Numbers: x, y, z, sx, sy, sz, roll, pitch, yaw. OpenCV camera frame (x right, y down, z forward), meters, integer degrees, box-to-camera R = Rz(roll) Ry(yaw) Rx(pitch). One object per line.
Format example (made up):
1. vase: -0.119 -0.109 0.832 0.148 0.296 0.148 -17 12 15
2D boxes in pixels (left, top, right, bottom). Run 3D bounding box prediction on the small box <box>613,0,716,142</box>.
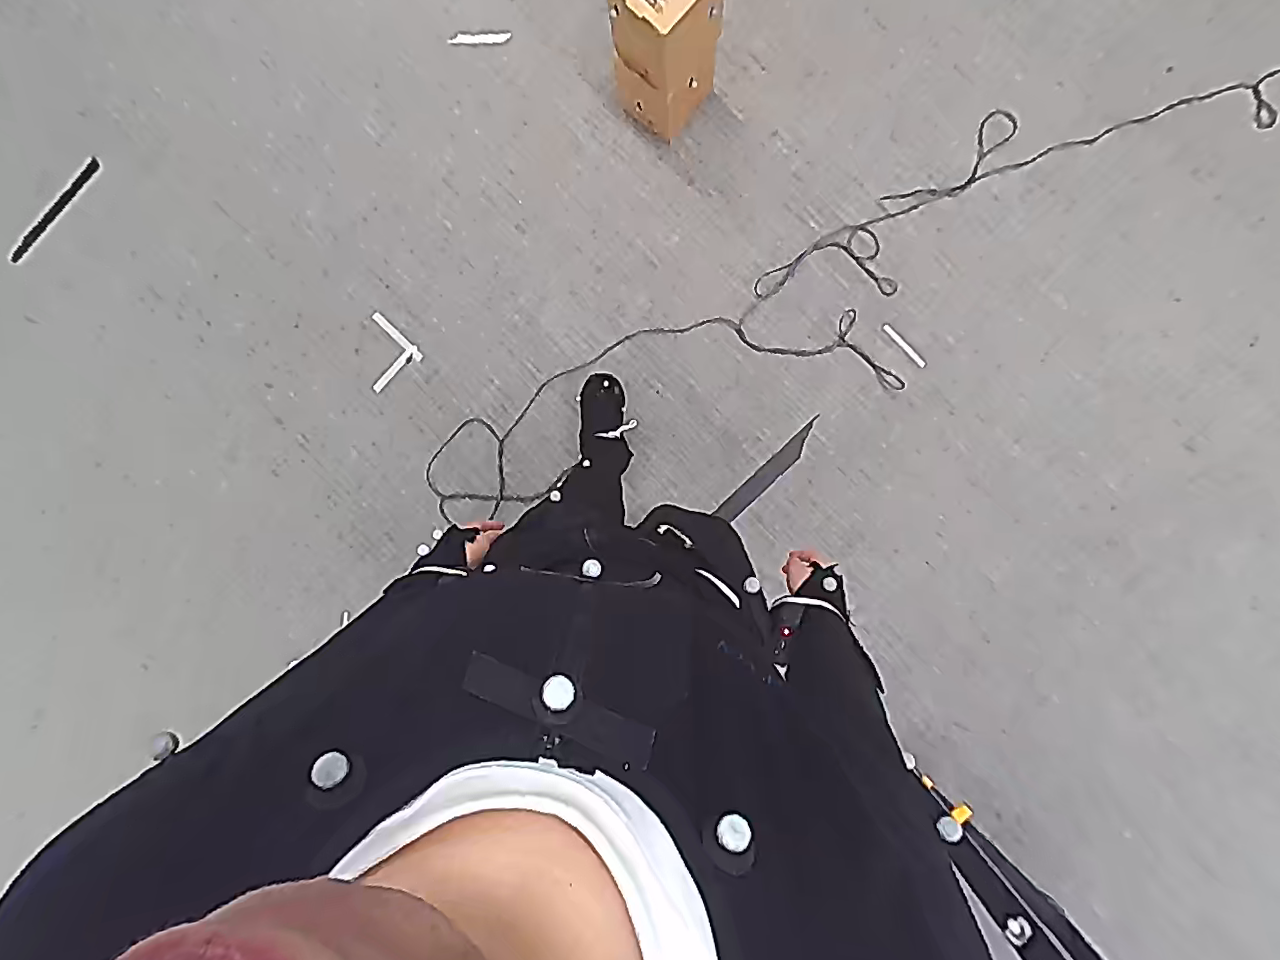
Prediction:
1. small box: 0.057 -0.955 1.272 0.168 0.176 0.179 39 93 3
